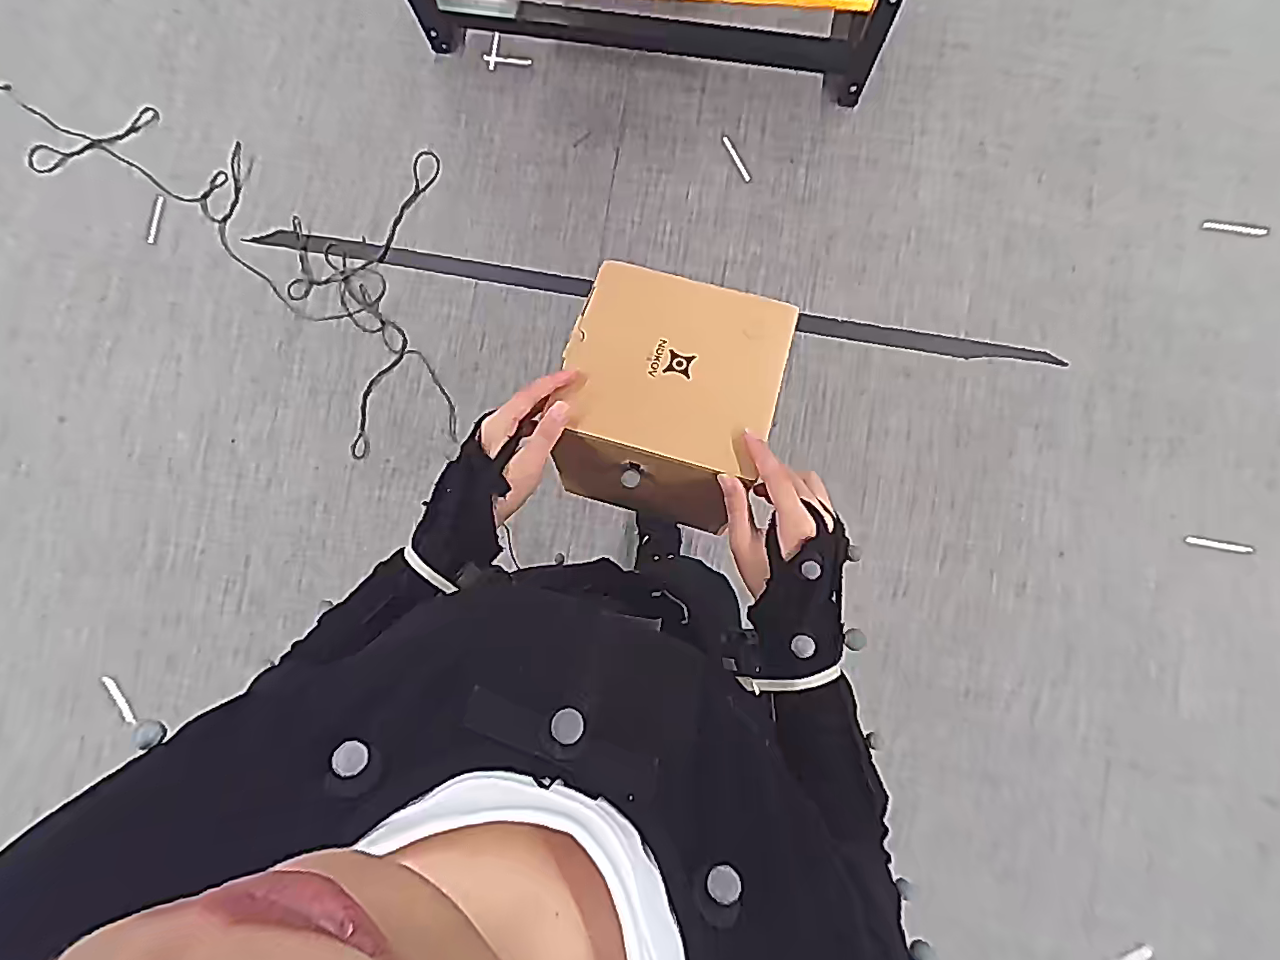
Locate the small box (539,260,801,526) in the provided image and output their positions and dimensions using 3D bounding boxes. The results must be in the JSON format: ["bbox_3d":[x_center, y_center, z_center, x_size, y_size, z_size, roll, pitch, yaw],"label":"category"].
[{"bbox_3d":[0.028,-0.067,0.506,0.179,0.176,0.168,15,71,6],"label":"small box"}]
